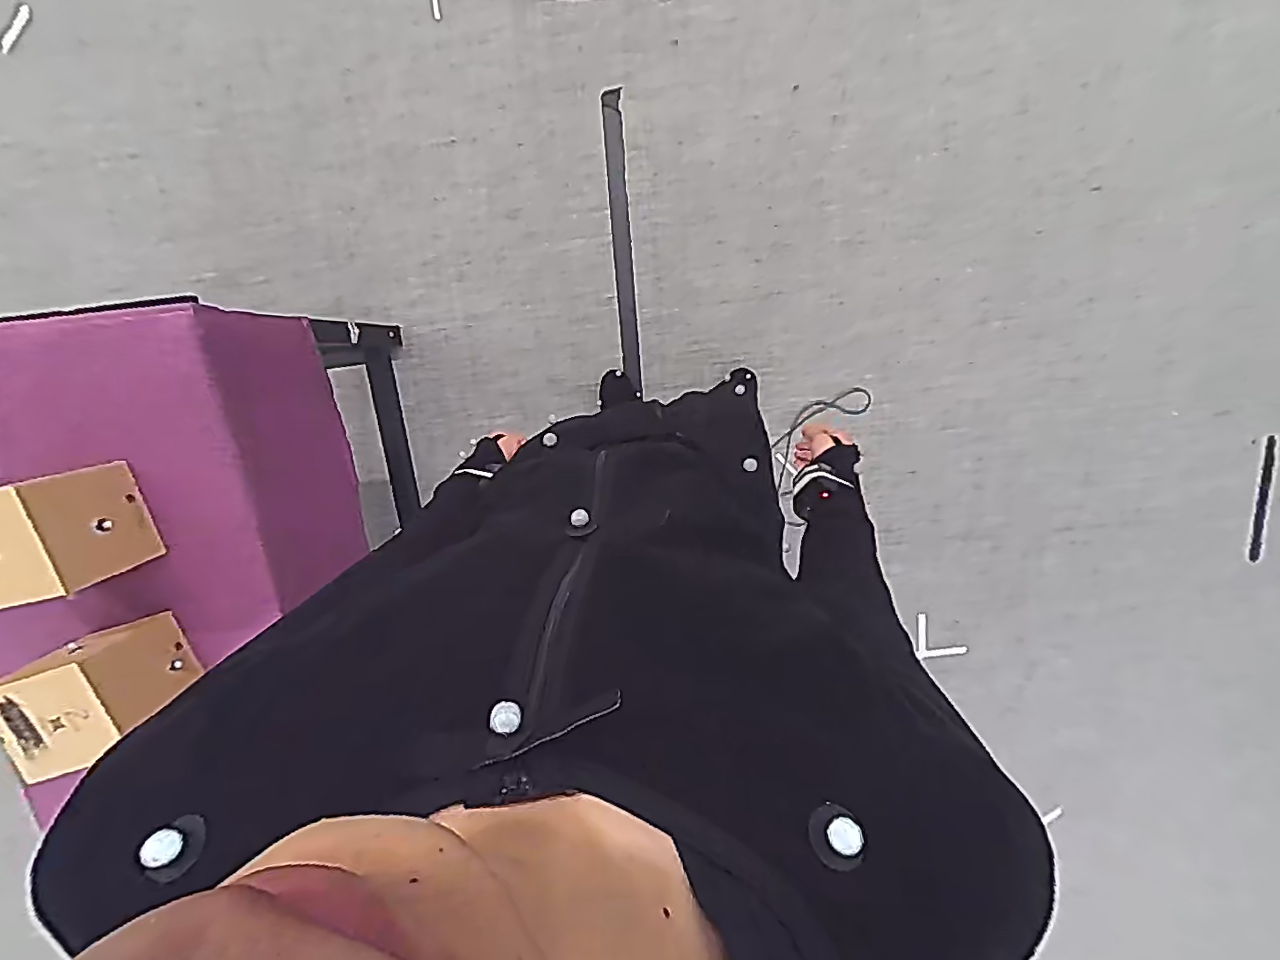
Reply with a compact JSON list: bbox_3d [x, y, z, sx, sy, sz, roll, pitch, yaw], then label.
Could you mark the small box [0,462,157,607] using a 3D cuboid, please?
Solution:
[{"bbox_3d":[-0.903,0.079,0.829,0.179,0.176,0.168,-11,103,4],"label":"small box"}]
